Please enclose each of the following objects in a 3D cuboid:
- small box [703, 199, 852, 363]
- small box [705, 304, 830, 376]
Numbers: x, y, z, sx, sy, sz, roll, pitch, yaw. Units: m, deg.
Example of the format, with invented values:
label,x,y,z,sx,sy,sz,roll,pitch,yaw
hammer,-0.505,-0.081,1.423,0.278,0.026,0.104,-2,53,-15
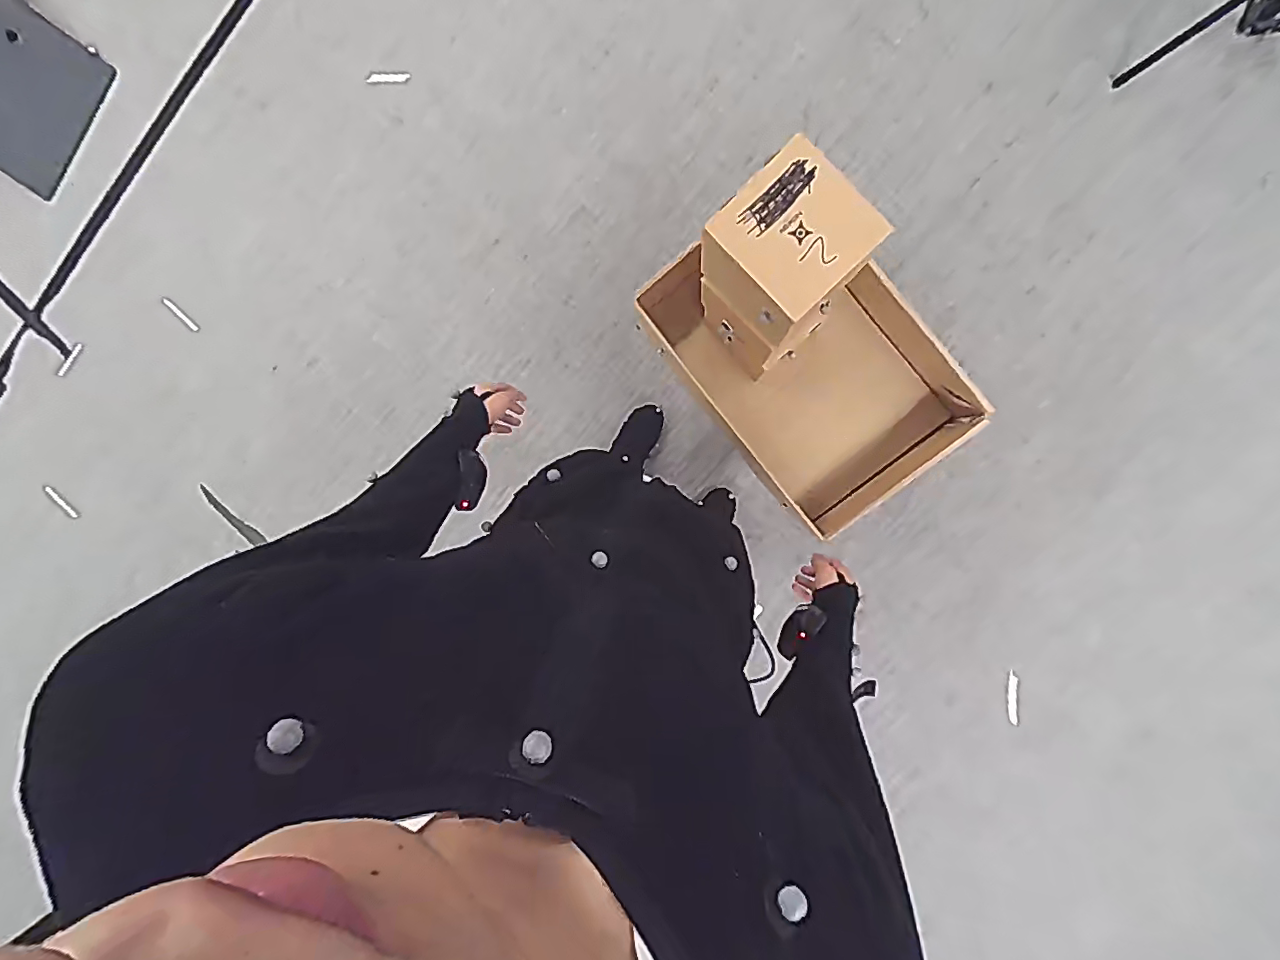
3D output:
label,x,y,z,sx,sy,sz,roll,pitch,yaw
small box,0.219,-0.326,0.923,0.179,0.176,0.168,-44,88,7
small box,0.242,-0.328,1.085,0.168,0.176,0.179,-42,90,7
